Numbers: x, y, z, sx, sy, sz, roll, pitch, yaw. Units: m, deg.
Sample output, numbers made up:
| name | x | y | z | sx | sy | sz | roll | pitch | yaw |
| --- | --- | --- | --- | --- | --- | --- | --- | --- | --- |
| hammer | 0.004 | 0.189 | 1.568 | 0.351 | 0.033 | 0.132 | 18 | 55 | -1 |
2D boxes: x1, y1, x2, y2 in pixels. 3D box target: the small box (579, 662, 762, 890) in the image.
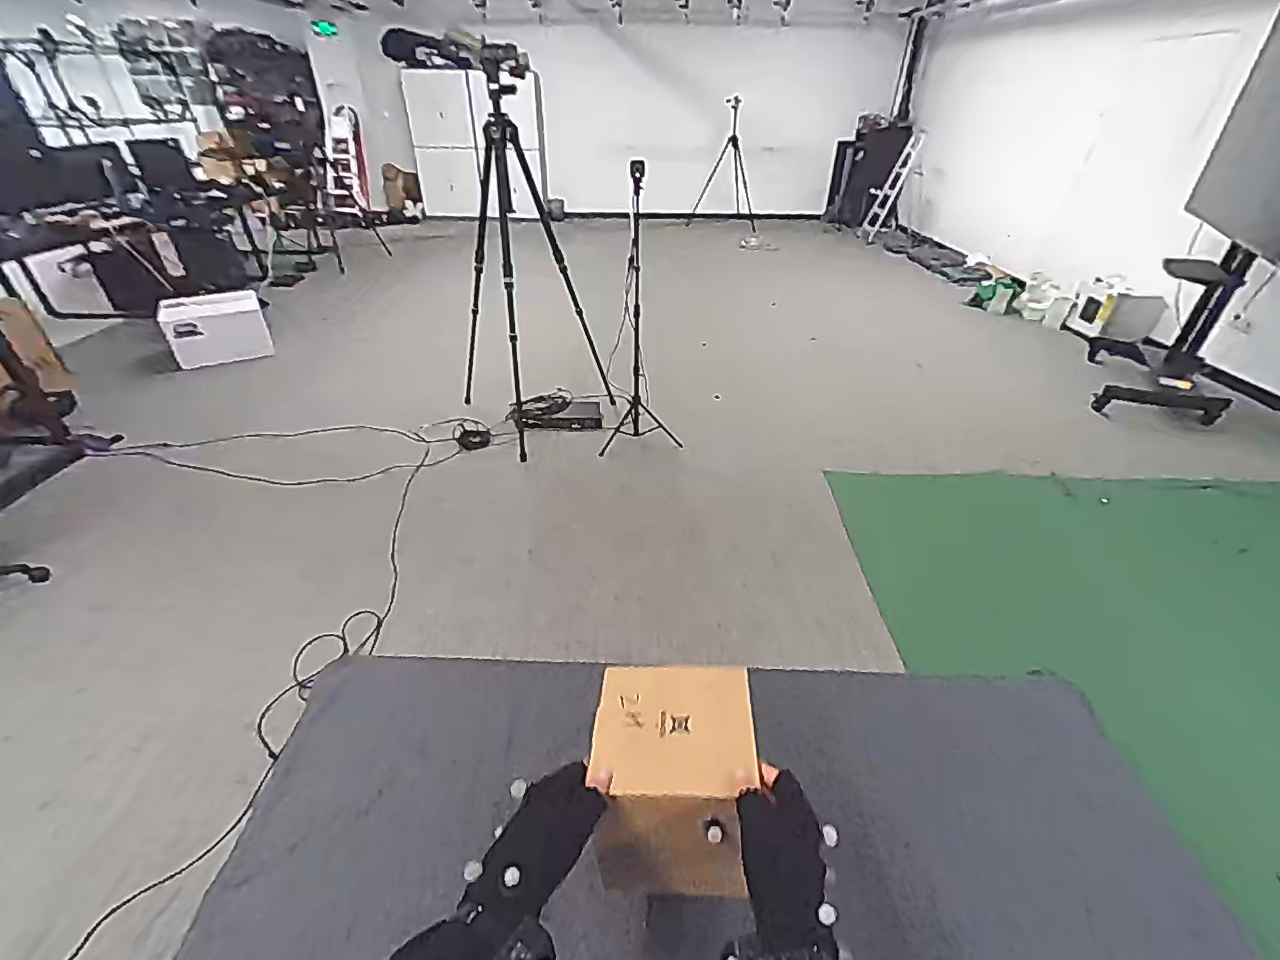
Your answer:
| name | x | y | z | sx | sy | sz | roll | pitch | yaw |
| --- | --- | --- | --- | --- | --- | --- | --- | --- | --- |
| small box | 0.042 | 0.331 | 0.616 | 0.179 | 0.176 | 0.168 | -3 | 27 | 8 |
